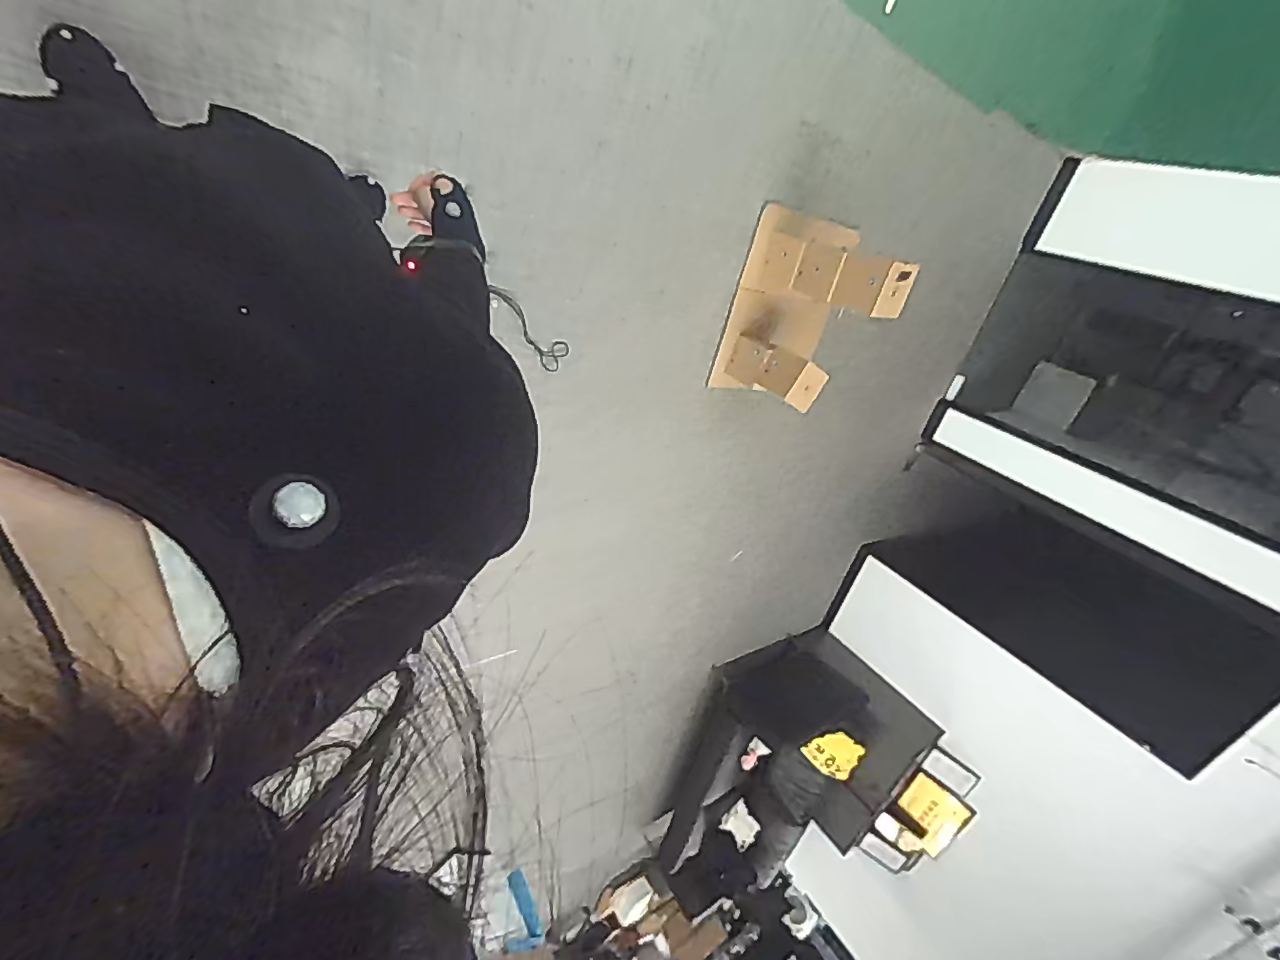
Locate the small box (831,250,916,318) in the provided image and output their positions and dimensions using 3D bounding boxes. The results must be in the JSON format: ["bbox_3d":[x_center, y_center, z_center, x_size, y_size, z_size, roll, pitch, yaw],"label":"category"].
[{"bbox_3d":[0.764,-0.648,1.787,0.168,0.176,0.179,-10,127,-36],"label":"small box"}]

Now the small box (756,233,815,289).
[{"bbox_3d":[0.561,-0.804,1.996,0.179,0.176,0.168,-10,127,-37],"label":"small box"}]

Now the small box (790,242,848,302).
[{"bbox_3d":[0.659,-0.723,1.892,0.179,0.176,0.168,-9,127,-37],"label":"small box"}]

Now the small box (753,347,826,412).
[{"bbox_3d":[0.570,-0.388,2.073,0.179,0.176,0.168,17,109,-47],"label":"small box"}]
